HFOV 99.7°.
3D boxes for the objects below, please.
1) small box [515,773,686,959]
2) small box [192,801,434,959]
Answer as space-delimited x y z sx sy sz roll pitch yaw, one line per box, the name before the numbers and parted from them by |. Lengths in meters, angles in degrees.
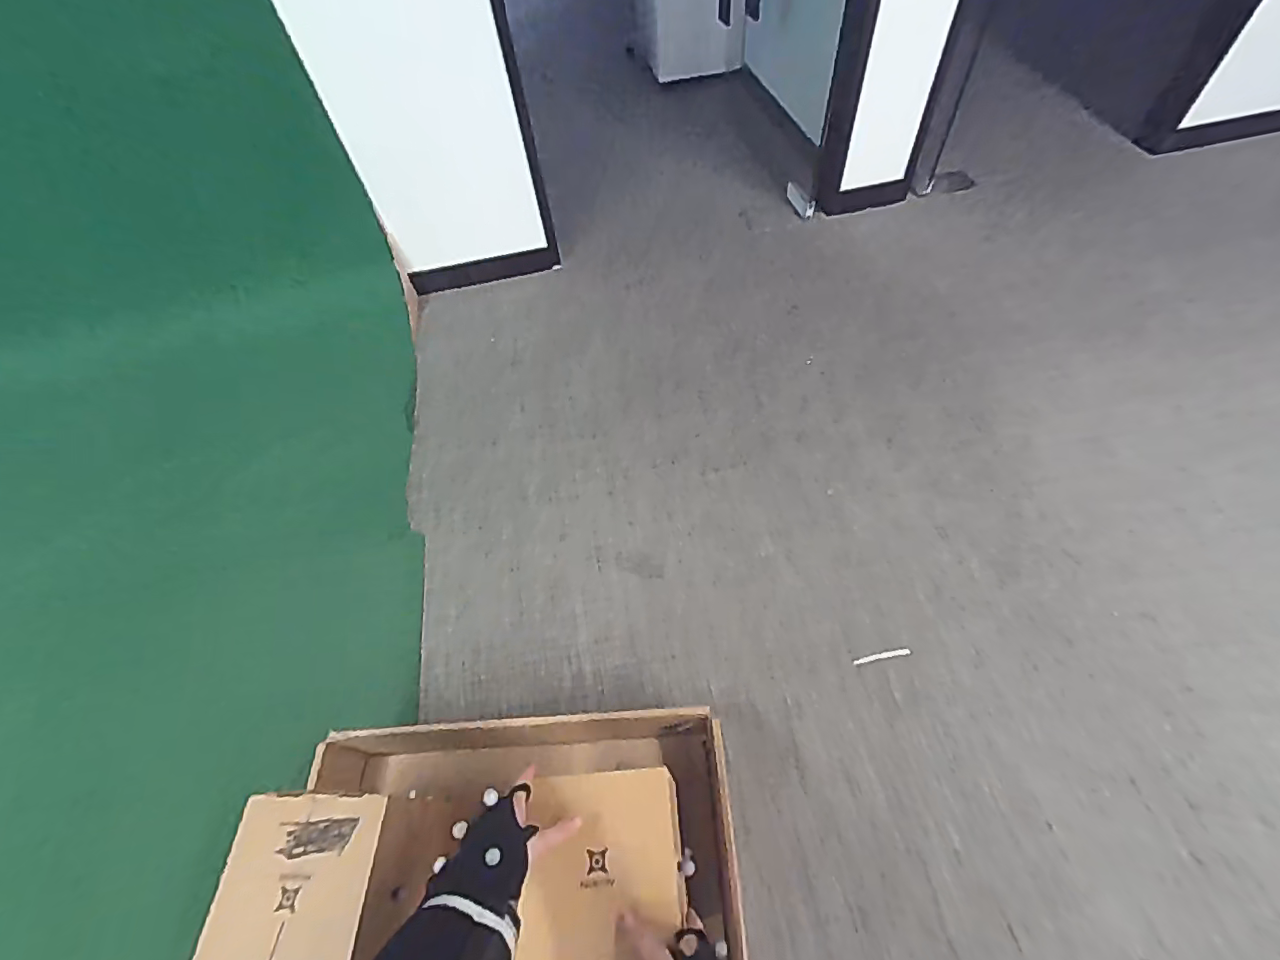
small box | -0.038 0.448 0.620 0.168 0.176 0.179 -6 57 2
small box | -0.359 0.481 0.628 0.168 0.176 0.179 -1 56 3
